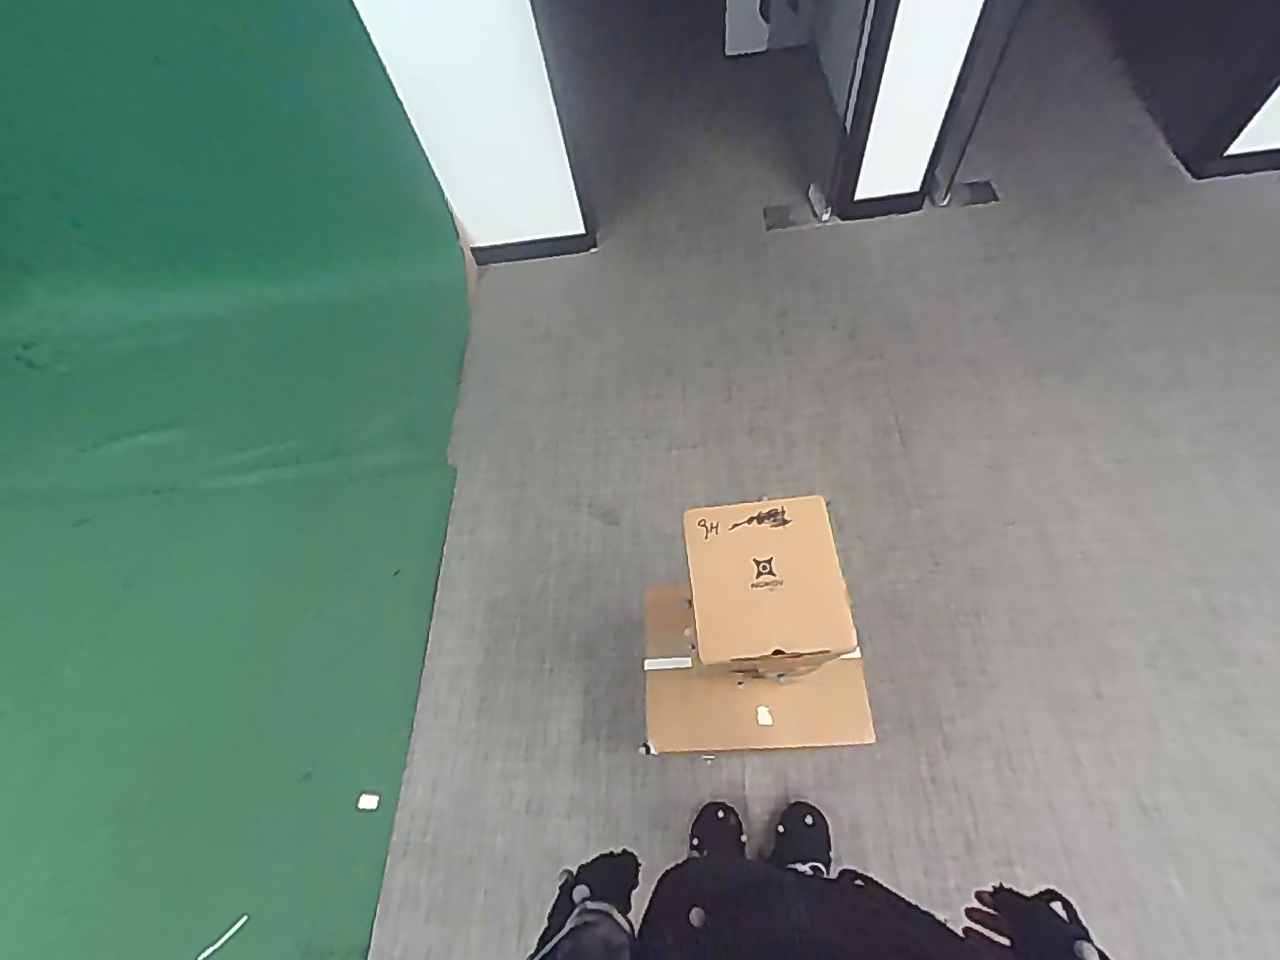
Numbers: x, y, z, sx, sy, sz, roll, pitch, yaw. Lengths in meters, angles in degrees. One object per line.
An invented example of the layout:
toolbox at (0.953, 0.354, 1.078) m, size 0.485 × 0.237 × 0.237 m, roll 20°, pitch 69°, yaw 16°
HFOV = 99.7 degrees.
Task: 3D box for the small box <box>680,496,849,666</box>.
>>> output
small box at (0.143, 0.136, 0.677) m, size 0.168 × 0.176 × 0.179 m, roll -6°, pitch 67°, yaw 3°

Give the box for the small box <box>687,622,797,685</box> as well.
small box at (0.178, 0.270, 0.969) m, size 0.179 × 0.176 × 0.168 m, roll 2°, pitch 66°, yaw 8°

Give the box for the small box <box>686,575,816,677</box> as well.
small box at (0.159, 0.203, 0.826) m, size 0.168 × 0.176 × 0.179 m, roll -5°, pitch 65°, yaw 4°
